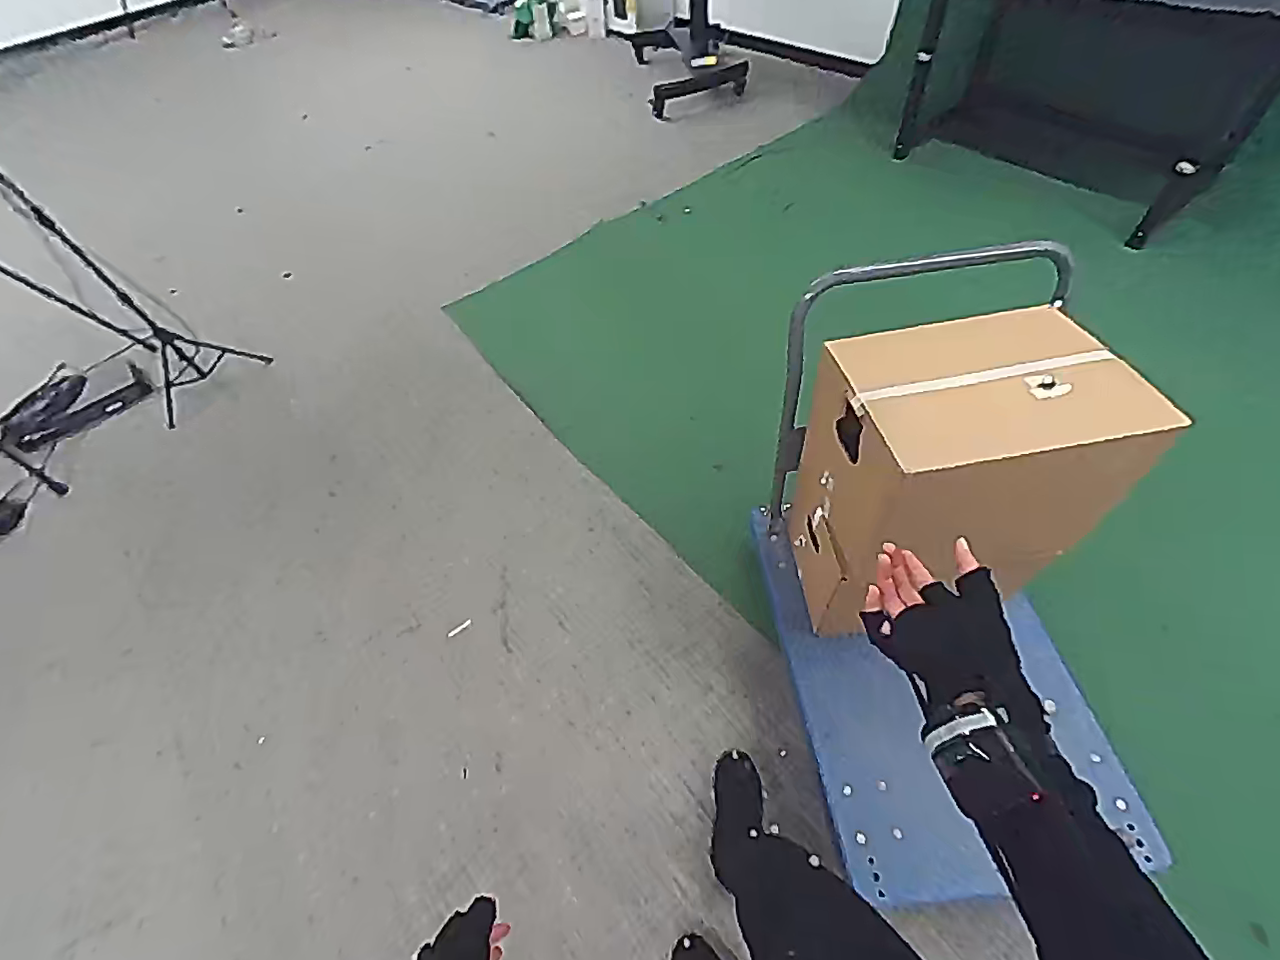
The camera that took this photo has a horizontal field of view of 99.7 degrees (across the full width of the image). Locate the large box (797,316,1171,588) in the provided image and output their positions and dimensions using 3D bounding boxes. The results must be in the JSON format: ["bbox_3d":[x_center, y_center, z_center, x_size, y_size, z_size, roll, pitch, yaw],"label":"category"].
[{"bbox_3d":[0.536,-0.046,0.952,0.408,0.320,0.320,-9,49,-1],"label":"large box"}]
